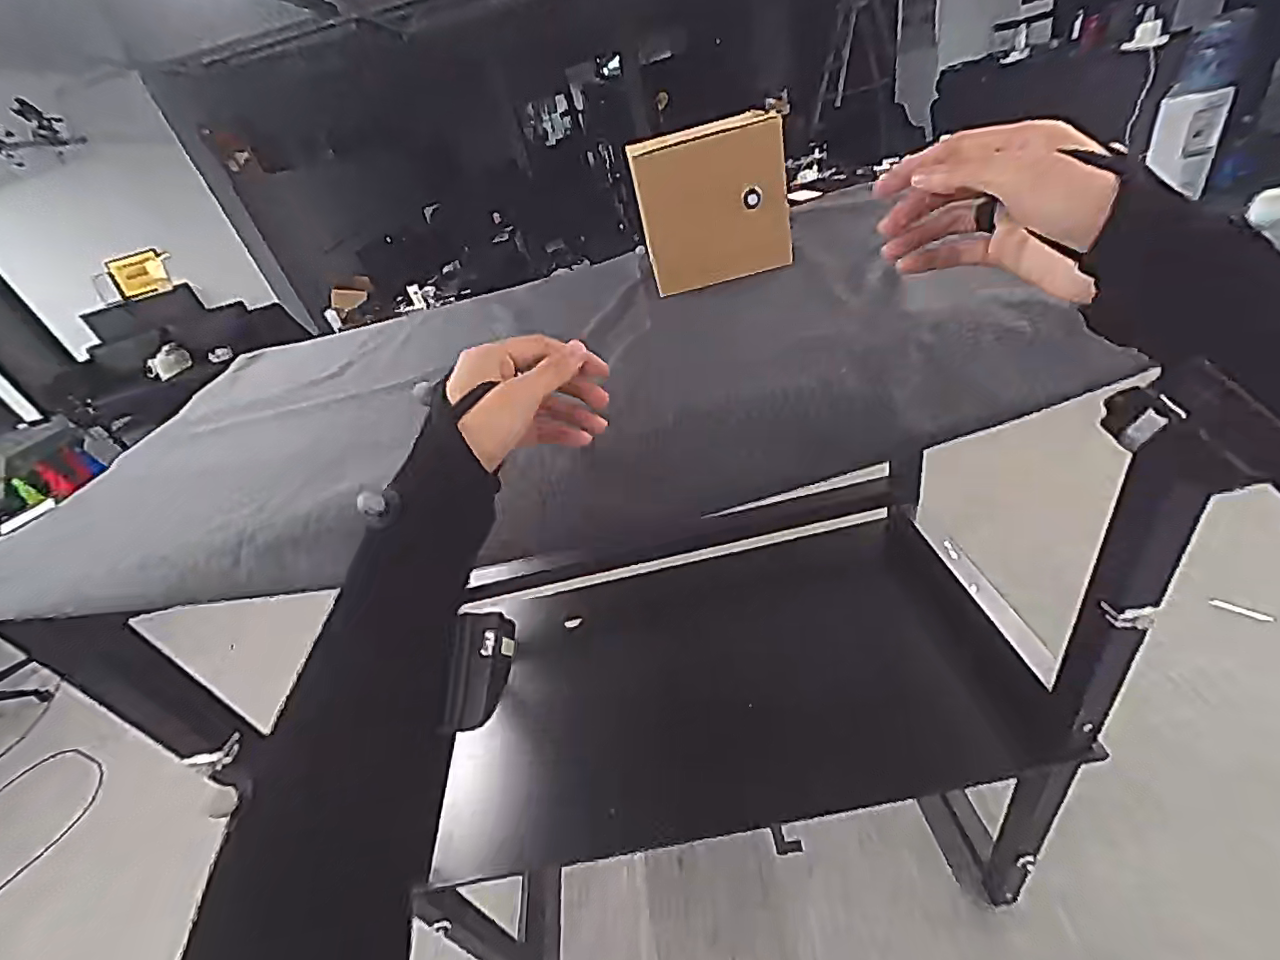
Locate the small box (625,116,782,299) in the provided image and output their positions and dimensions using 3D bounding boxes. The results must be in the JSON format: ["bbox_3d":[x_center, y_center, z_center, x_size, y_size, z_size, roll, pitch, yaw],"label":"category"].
[{"bbox_3d":[0.084,-0.361,0.717,0.179,0.176,0.168,-13,34,5],"label":"small box"}]
